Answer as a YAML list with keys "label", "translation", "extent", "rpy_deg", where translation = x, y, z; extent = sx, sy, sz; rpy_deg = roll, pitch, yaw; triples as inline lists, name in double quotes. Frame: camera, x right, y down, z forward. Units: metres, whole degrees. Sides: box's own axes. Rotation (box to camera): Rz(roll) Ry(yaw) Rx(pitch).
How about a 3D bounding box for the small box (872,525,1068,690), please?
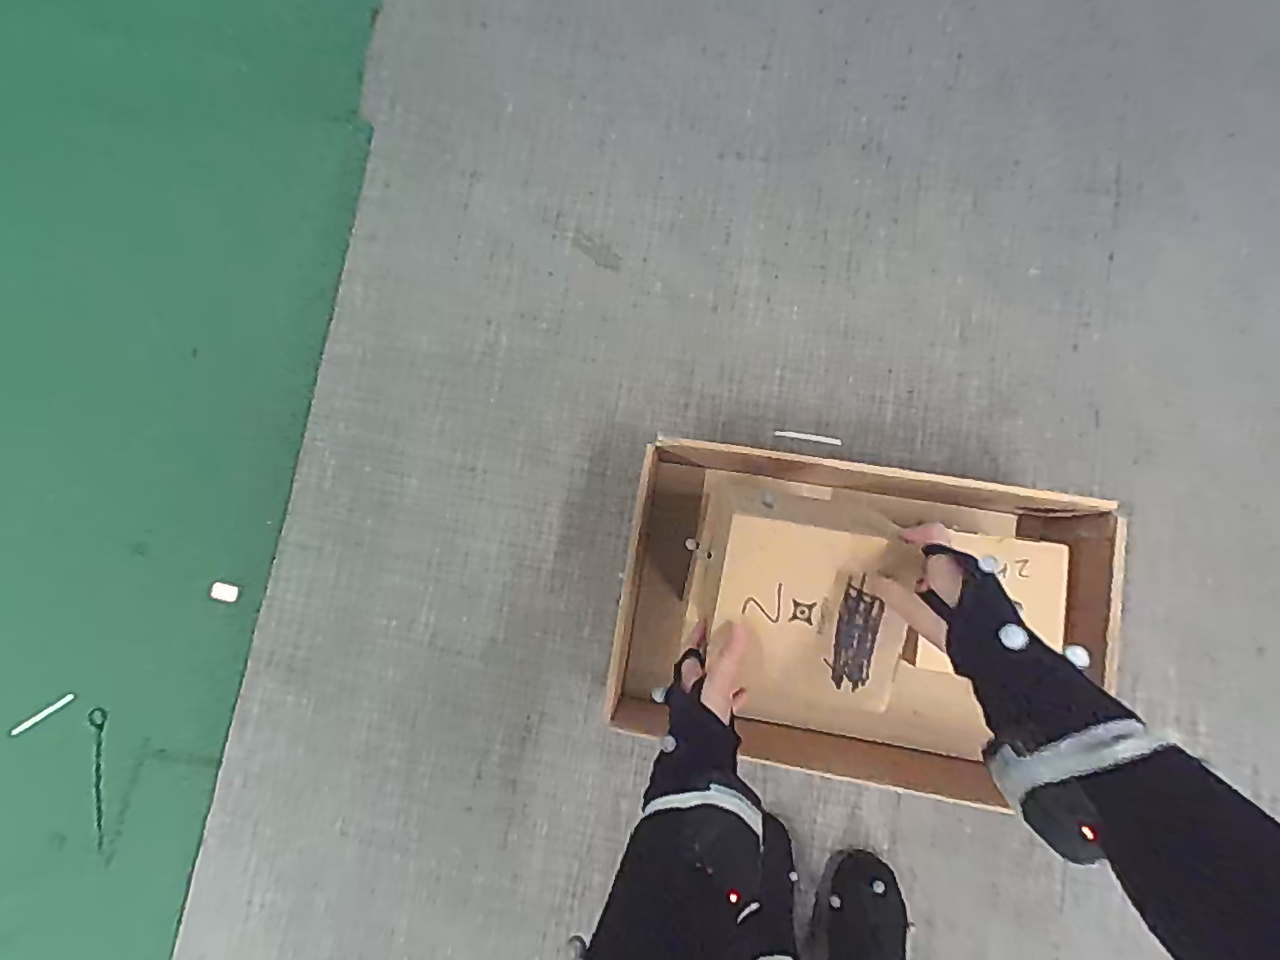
- label: "small box"
  translation: [0.431, 0.160, 0.734]
  extent: [0.168, 0.176, 0.179]
  rpy_deg: [8, 85, 5]

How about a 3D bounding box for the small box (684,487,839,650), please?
- label: "small box"
  translation: [0.160, 0.118, 0.761]
  extent: [0.168, 0.176, 0.179]
  rpy_deg: [12, 84, 5]
